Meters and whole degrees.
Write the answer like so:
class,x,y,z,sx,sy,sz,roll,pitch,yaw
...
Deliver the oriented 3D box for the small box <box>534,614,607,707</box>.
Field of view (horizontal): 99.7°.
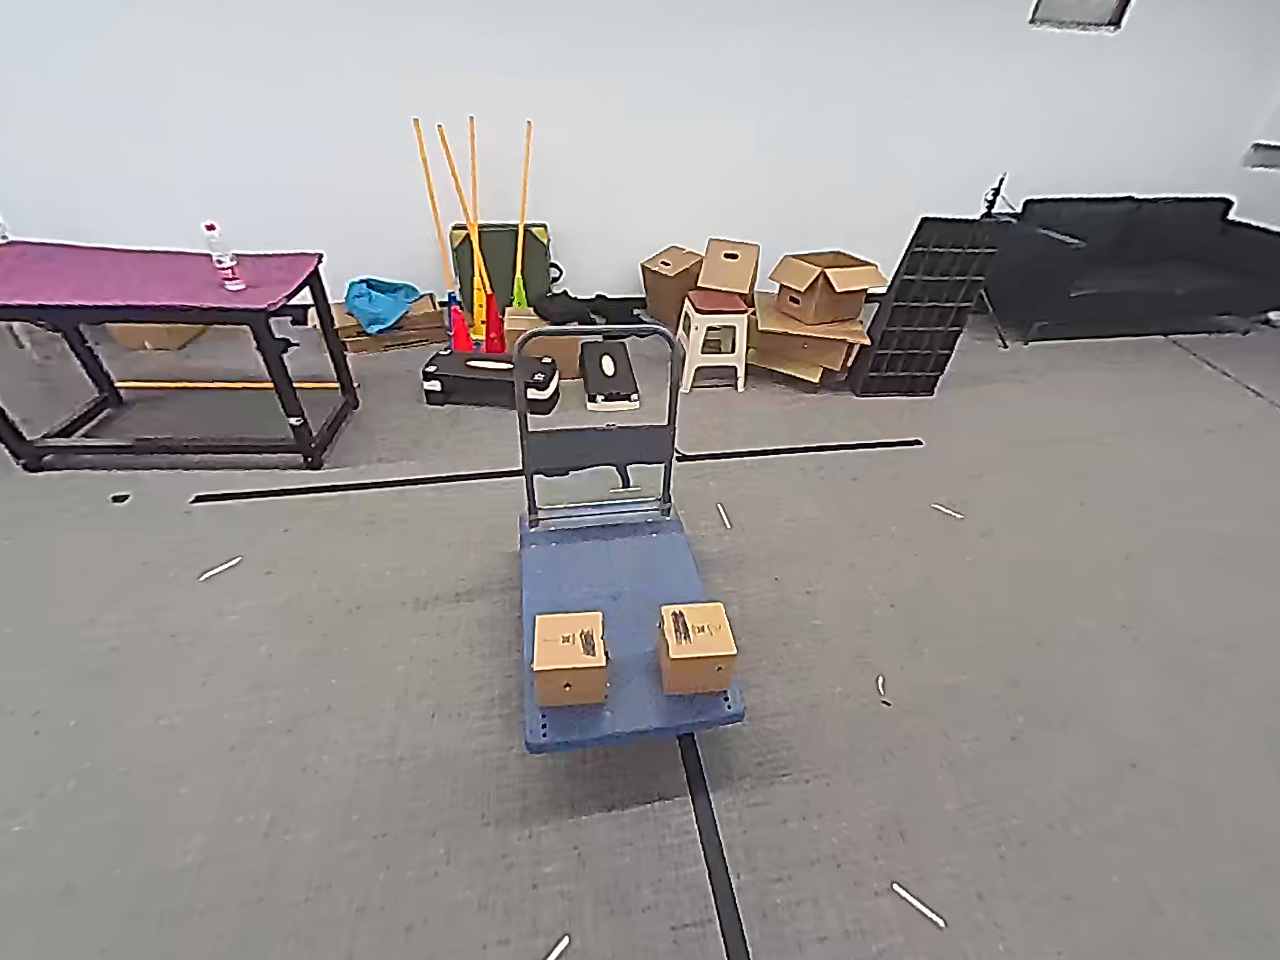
class,x,y,z,sx,sy,sz,roll,pitch,yaw
small box,-0.180,0.470,1.407,0.179,0.176,0.168,-2,38,-6
